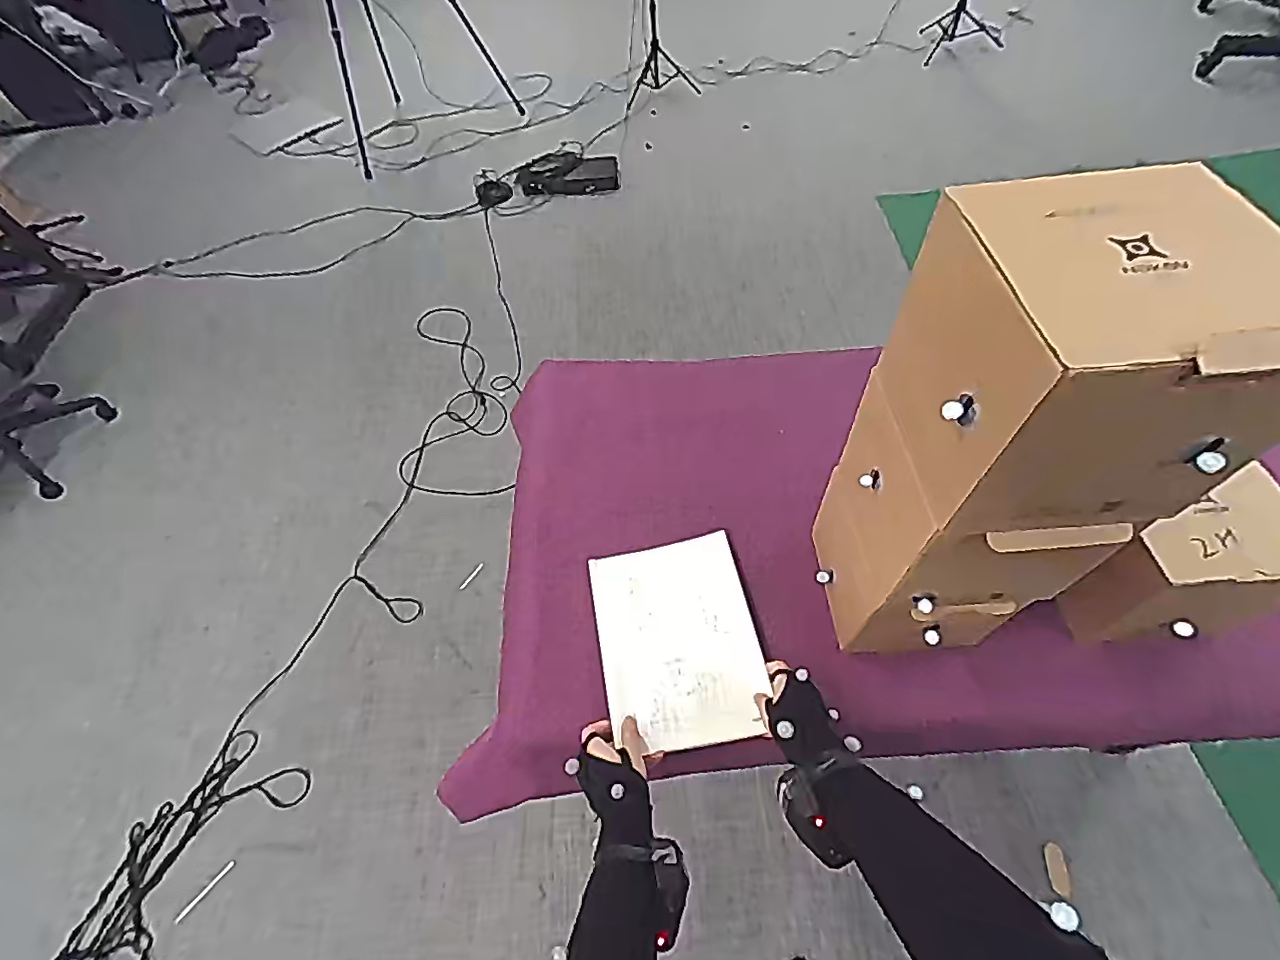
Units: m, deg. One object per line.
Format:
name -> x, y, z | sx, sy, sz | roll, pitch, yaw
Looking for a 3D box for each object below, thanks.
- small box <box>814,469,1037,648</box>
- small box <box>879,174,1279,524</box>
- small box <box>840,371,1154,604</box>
small box -> 0.321, 0.097, 0.654 | 0.168, 0.176, 0.179 | -5, 56, 3
small box -> 0.290, -0.079, 0.378 | 0.168, 0.176, 0.179 | -4, 55, 3
small box -> 0.306, 0.009, 0.515 | 0.168, 0.176, 0.179 | -5, 54, 3
